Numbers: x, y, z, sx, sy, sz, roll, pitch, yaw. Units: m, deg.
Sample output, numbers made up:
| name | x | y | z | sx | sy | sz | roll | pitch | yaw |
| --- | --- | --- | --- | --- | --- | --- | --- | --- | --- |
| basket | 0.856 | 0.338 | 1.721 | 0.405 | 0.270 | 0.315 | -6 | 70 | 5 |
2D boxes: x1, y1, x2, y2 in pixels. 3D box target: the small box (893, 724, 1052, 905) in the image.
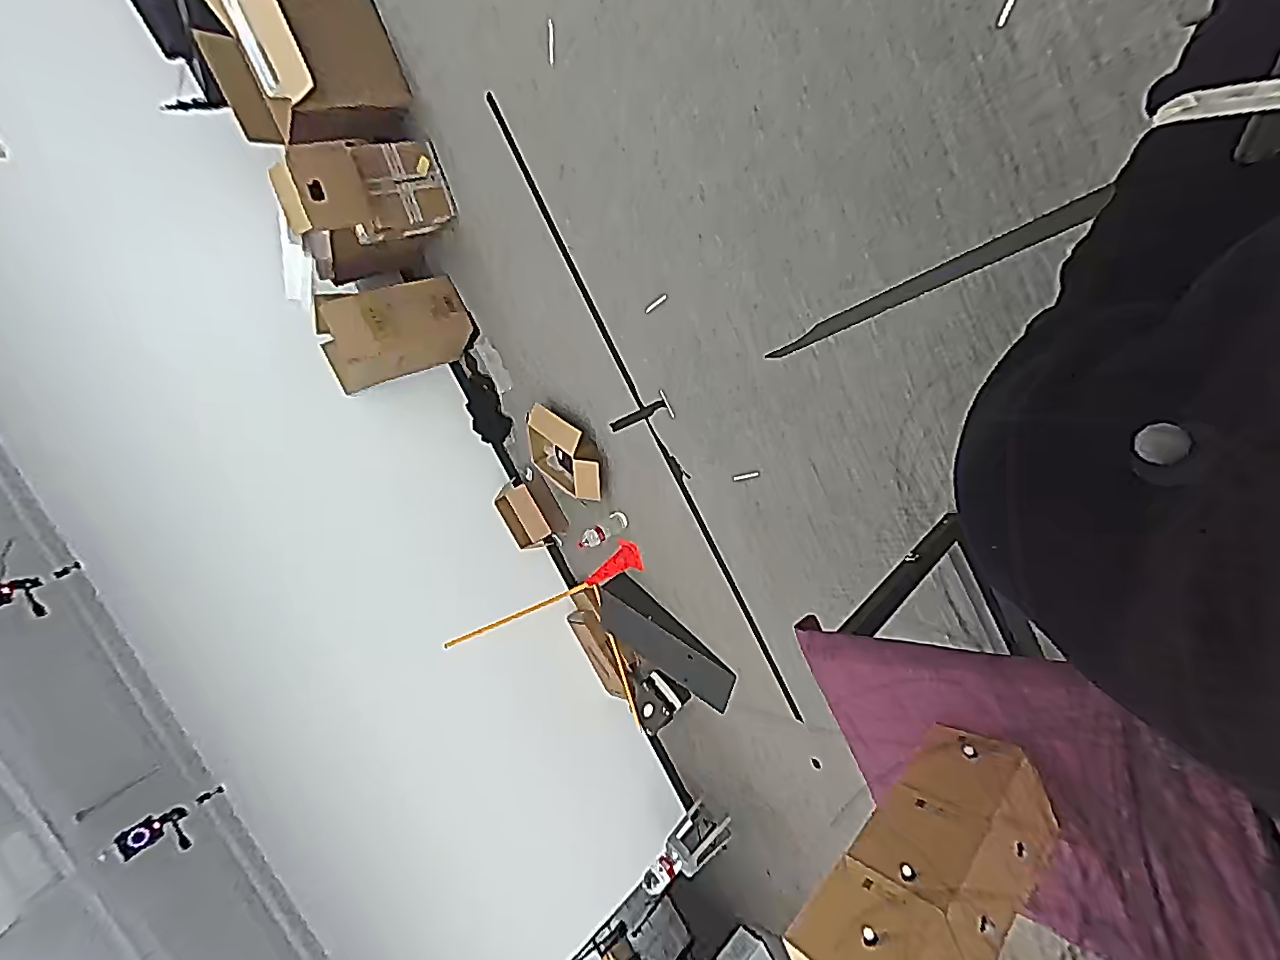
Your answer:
| name | x | y | z | sx | sy | sz | roll | pitch | yaw |
| --- | --- | --- | --- | --- | --- | --- | --- | --- | --- |
| small box | 0.593 | 0.577 | 0.959 | 0.168 | 0.176 | 0.179 | -11 | 106 | 57 |

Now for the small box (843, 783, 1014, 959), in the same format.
| name | x | y | z | sx | sy | sz | roll | pitch | yaw |
| --- | --- | --- | --- | --- | --- | --- | --- | --- | --- |
| small box | 0.469 | 0.644 | 0.874 | 0.168 | 0.176 | 0.179 | -7 | 110 | 56 |

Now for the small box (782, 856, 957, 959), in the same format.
| name | x | y | z | sx | sy | sz | roll | pitch | yaw |
| --- | --- | --- | --- | --- | --- | --- | --- | --- | --- |
| small box | 0.345 | 0.708 | 0.790 | 0.168 | 0.176 | 0.179 | -8 | 110 | 56 |
